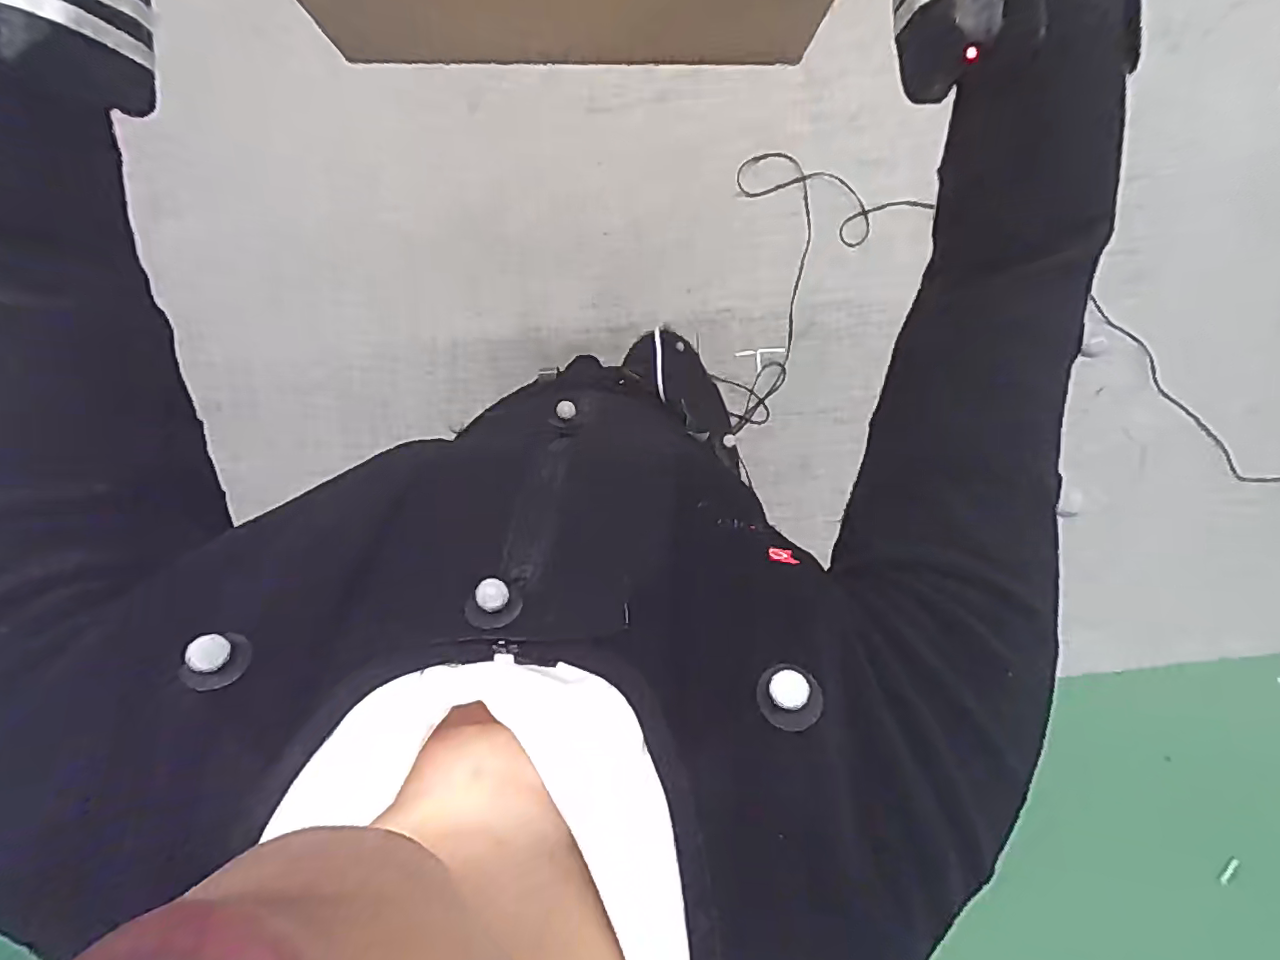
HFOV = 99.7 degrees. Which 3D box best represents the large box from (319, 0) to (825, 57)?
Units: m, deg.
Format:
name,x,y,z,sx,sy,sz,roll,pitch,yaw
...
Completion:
name,x,y,z,sx,sy,sz,roll,pitch,yaw
large box,-0.048,-0.503,0.312,0.408,0.320,0.320,-2,101,-3
